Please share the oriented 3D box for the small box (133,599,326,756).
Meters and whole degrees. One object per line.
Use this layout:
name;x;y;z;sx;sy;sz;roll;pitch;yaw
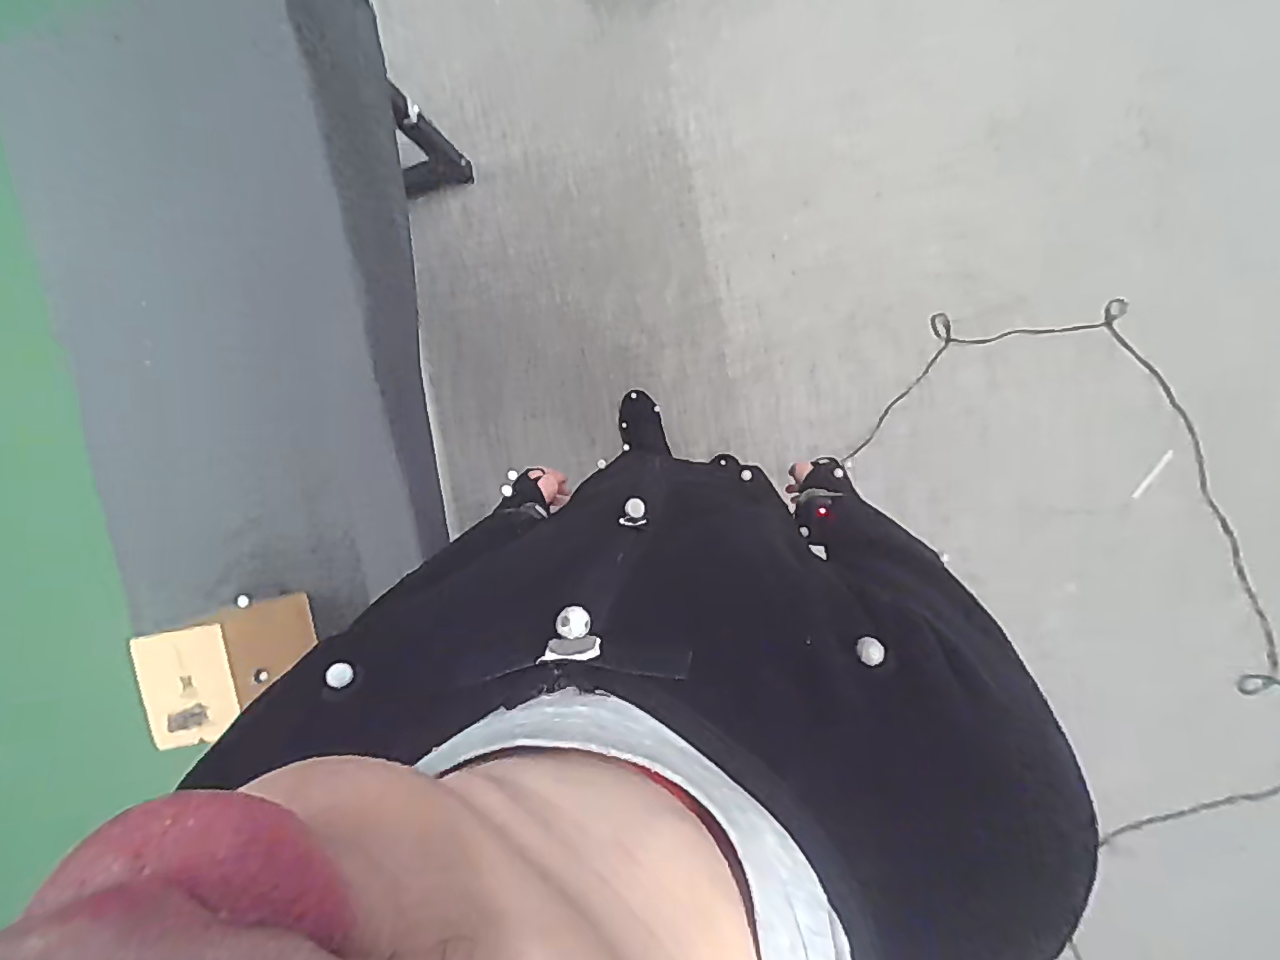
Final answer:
small box;-0.645;0.310;0.873;0.168;0.176;0.179;-11;93;9
